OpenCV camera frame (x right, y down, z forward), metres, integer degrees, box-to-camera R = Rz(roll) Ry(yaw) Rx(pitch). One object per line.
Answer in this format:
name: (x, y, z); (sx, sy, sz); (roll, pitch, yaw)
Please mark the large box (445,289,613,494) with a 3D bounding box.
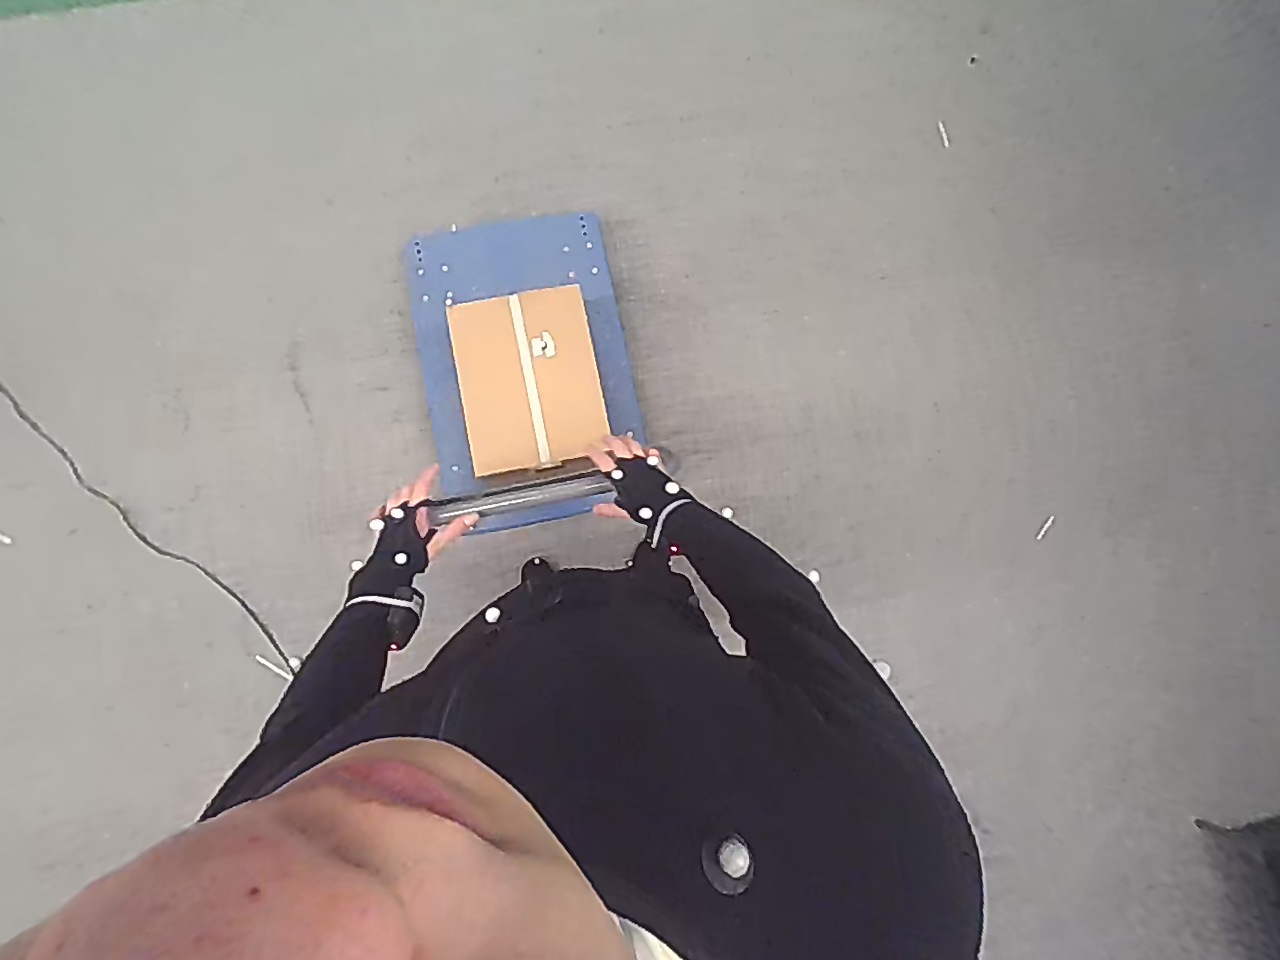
large box: (-0.263, -0.204, 1.372); (0.320, 0.320, 0.408); (-12, 83, -7)
